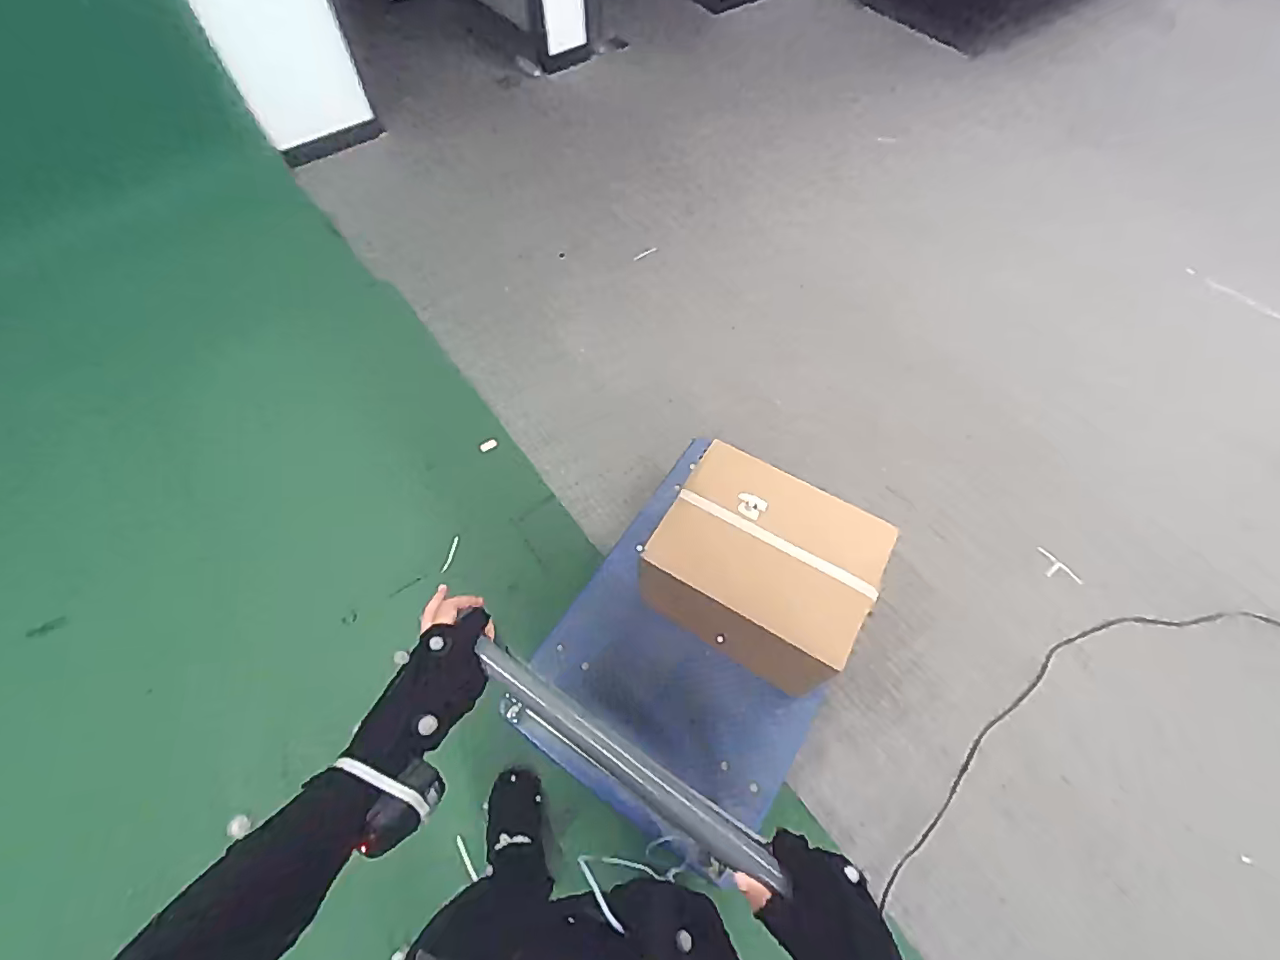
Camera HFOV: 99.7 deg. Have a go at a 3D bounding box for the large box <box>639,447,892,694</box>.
[{"bbox_3d":[0.248,0.201,1.164,0.408,0.320,0.320,28,63,16],"label":"large box"}]
